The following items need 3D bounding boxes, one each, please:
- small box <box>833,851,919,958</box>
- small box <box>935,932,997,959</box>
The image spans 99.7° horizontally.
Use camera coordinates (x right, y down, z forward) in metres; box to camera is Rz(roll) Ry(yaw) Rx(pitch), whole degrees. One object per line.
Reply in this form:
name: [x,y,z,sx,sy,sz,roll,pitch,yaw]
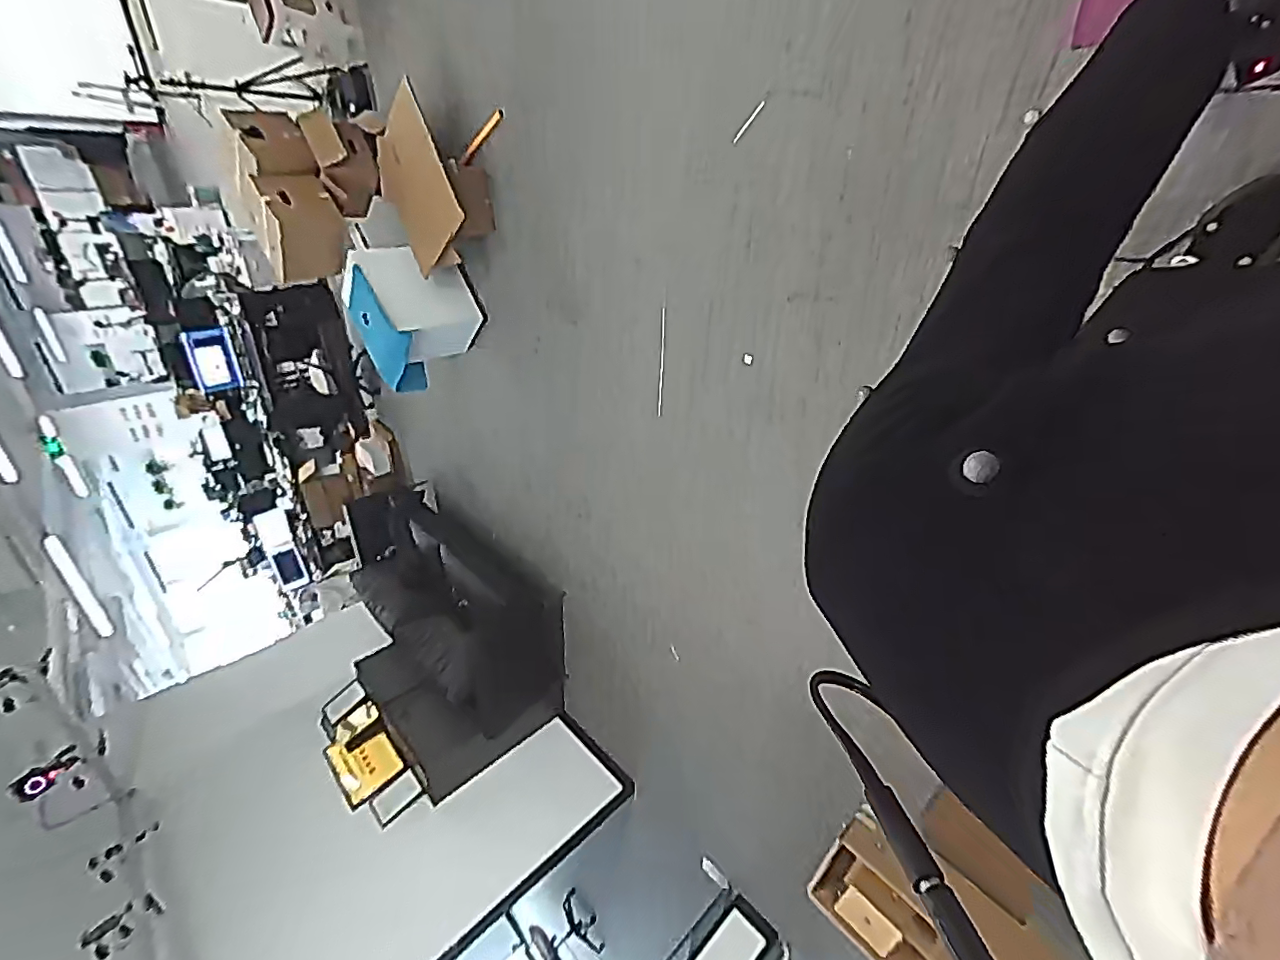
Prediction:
small box: [0.732,1.298,1.666,0.168,0.176,0.179,33,131,34]
small box: [0.922,1.428,1.508,0.168,0.176,0.179,35,132,32]
